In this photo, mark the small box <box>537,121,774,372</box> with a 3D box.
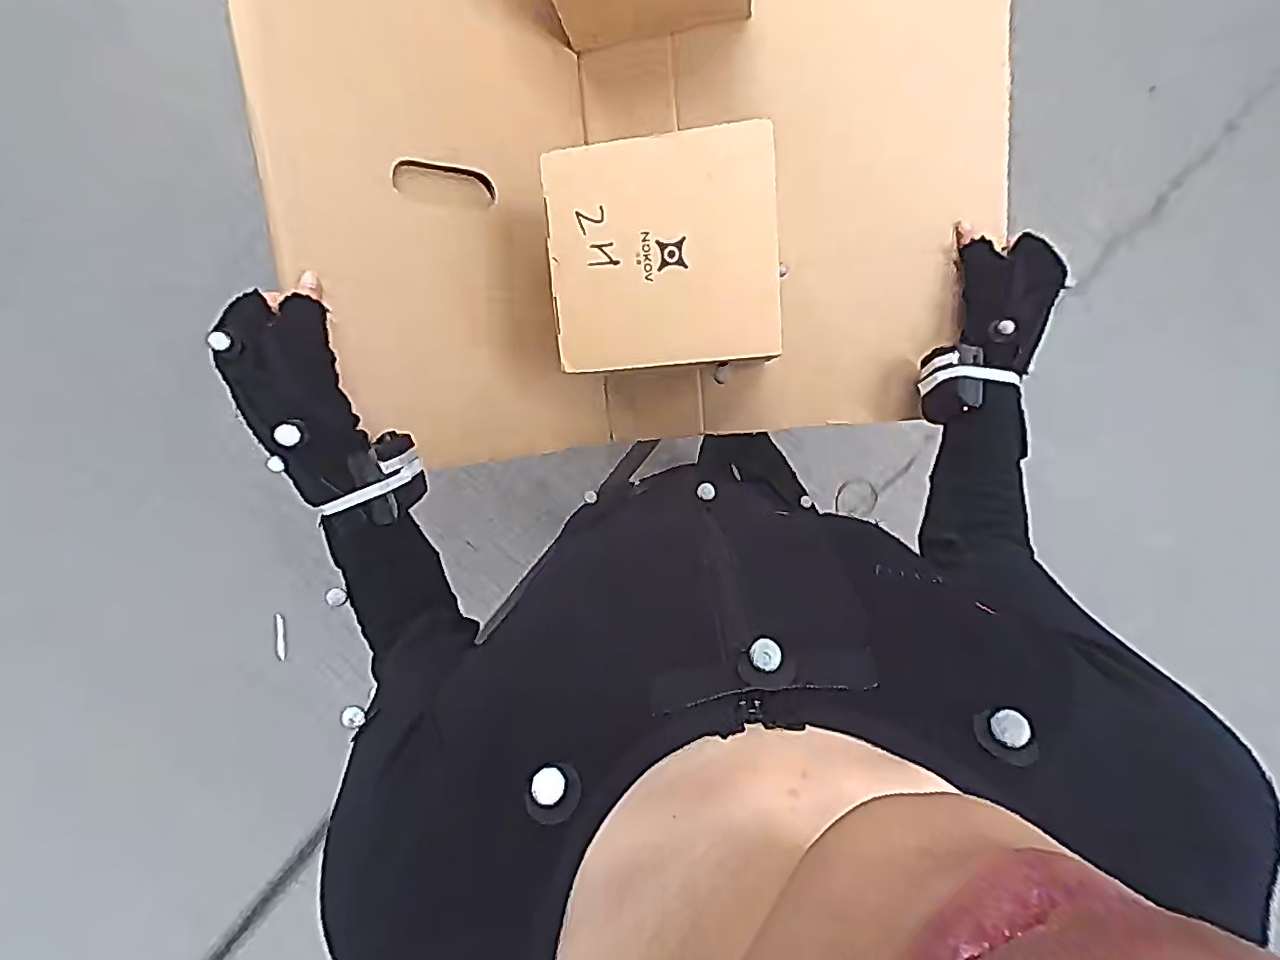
[{"bbox_3d":[0.023,-0.191,0.496,0.179,0.176,0.168,-4,99,10],"label":"small box"}]

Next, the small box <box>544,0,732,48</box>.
[{"bbox_3d":[-0.013,-0.504,0.445,0.179,0.176,0.168,-6,99,9],"label":"small box"}]
